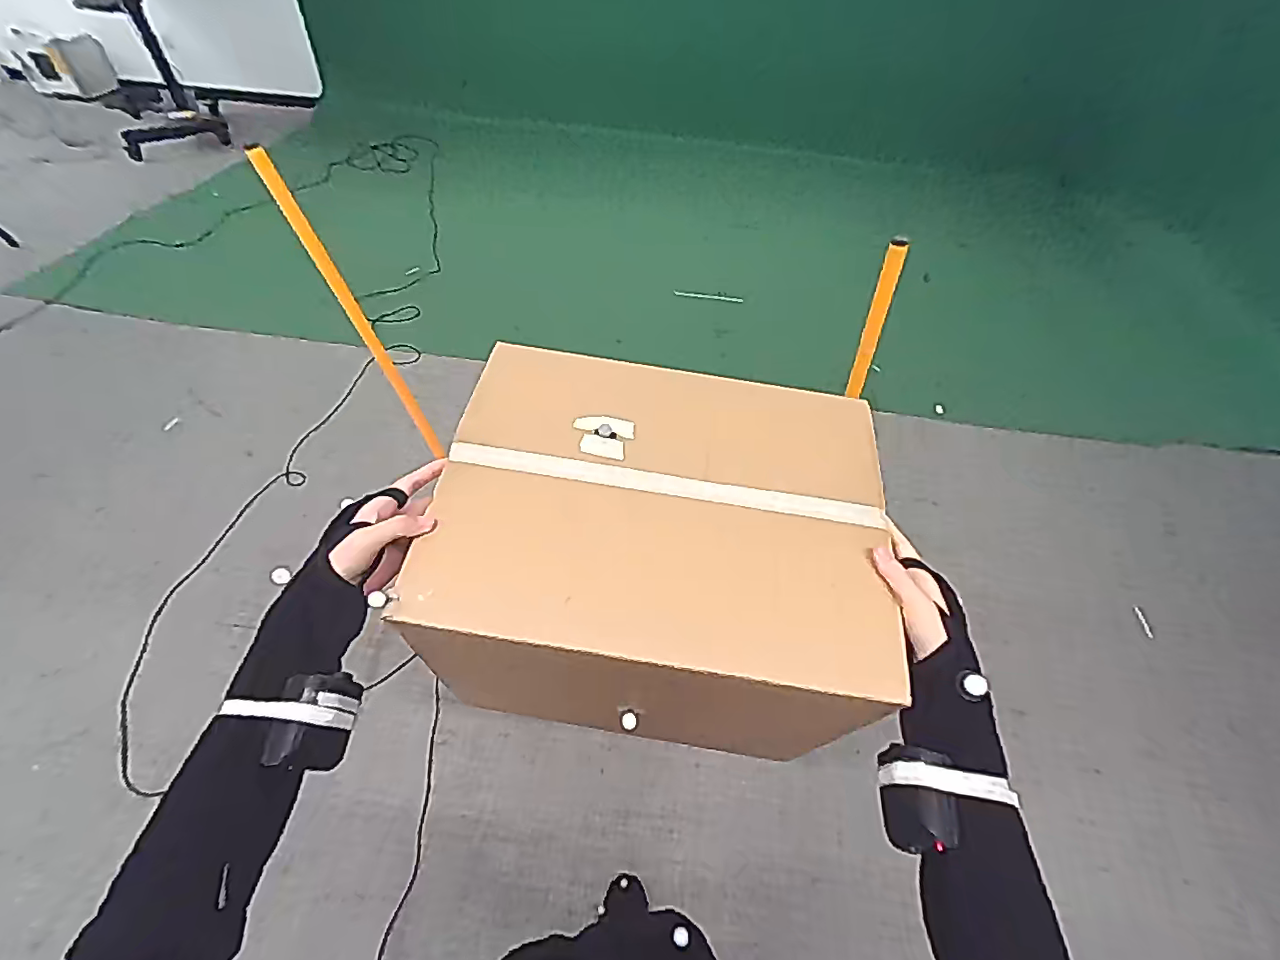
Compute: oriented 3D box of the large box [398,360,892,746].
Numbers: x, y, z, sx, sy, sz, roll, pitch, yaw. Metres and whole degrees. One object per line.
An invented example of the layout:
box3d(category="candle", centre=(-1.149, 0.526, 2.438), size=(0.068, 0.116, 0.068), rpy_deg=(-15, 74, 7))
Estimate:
box3d(category="large box", centre=(0.015, 0.100, 0.631), size=(0.408, 0.320, 0.320), rpy_deg=(9, 55, 2))
